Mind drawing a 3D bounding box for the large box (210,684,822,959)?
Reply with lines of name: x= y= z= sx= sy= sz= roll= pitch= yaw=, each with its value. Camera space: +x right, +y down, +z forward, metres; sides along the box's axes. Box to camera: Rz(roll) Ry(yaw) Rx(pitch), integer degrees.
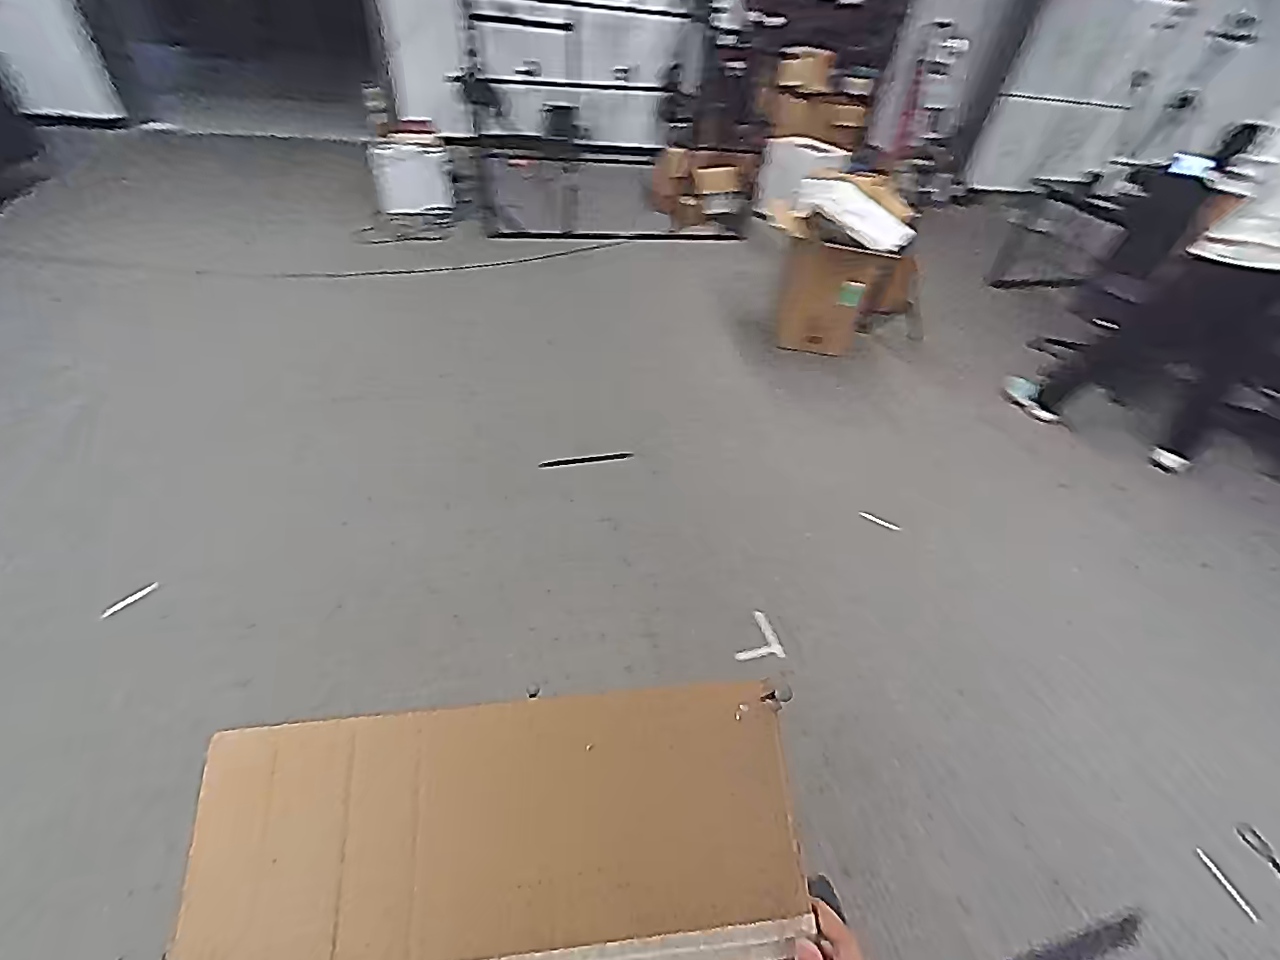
large box: x=-0.086 y=0.369 z=0.490 sx=0.408 sy=0.320 sz=0.320 roll=-3 pitch=70 yaw=-4
